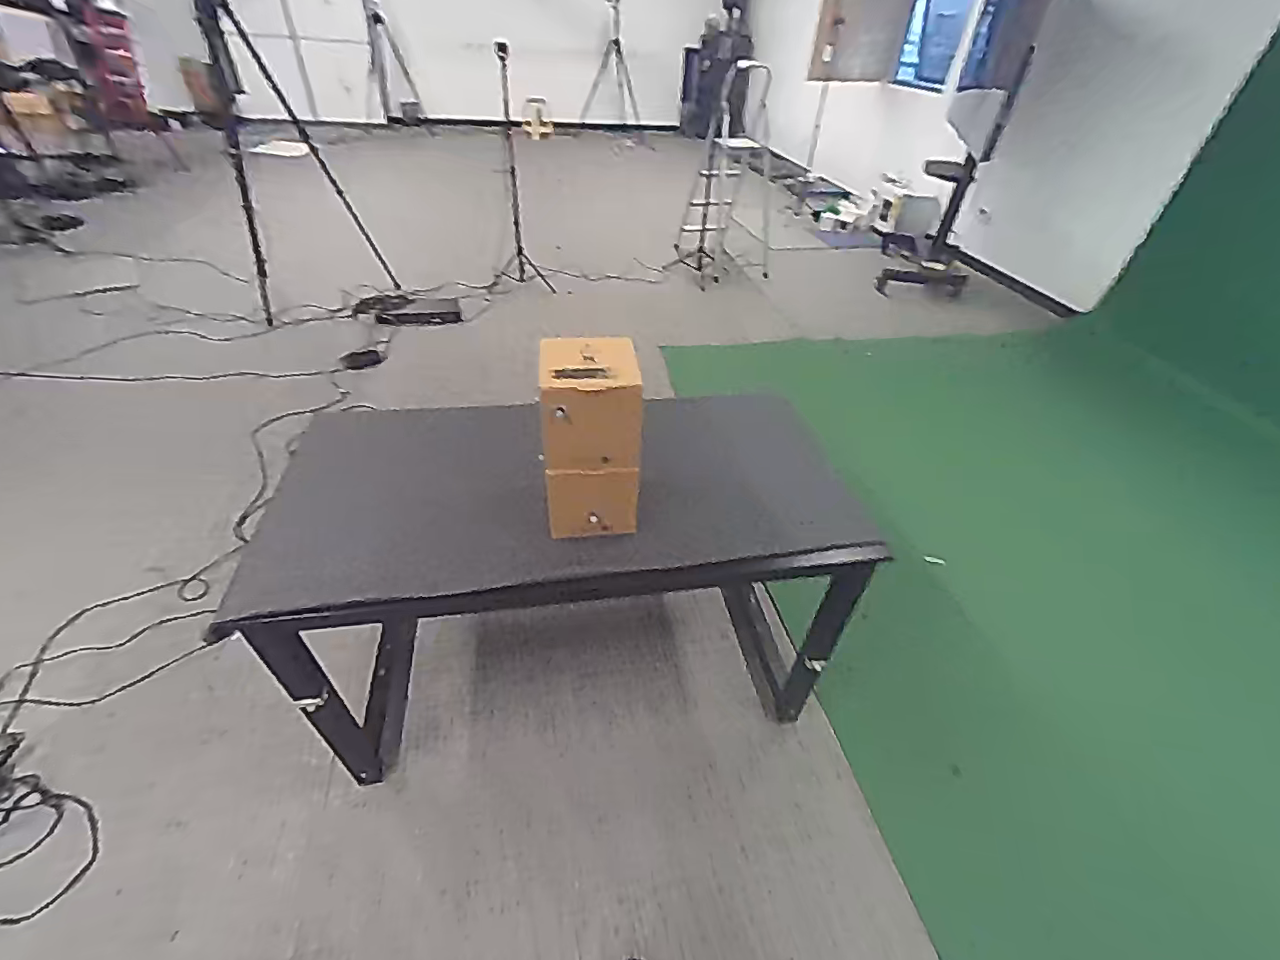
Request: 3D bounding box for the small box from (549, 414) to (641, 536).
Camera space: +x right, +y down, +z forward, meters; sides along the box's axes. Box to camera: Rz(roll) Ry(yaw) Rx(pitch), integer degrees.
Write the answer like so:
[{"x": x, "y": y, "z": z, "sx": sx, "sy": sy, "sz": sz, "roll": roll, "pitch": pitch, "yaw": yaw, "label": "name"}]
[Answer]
[{"x": -0.093, "y": -0.012, "z": 1.063, "sx": 0.168, "sy": 0.176, "sz": 0.179, "roll": -4, "pitch": 41, "yaw": -8, "label": "small box"}]
